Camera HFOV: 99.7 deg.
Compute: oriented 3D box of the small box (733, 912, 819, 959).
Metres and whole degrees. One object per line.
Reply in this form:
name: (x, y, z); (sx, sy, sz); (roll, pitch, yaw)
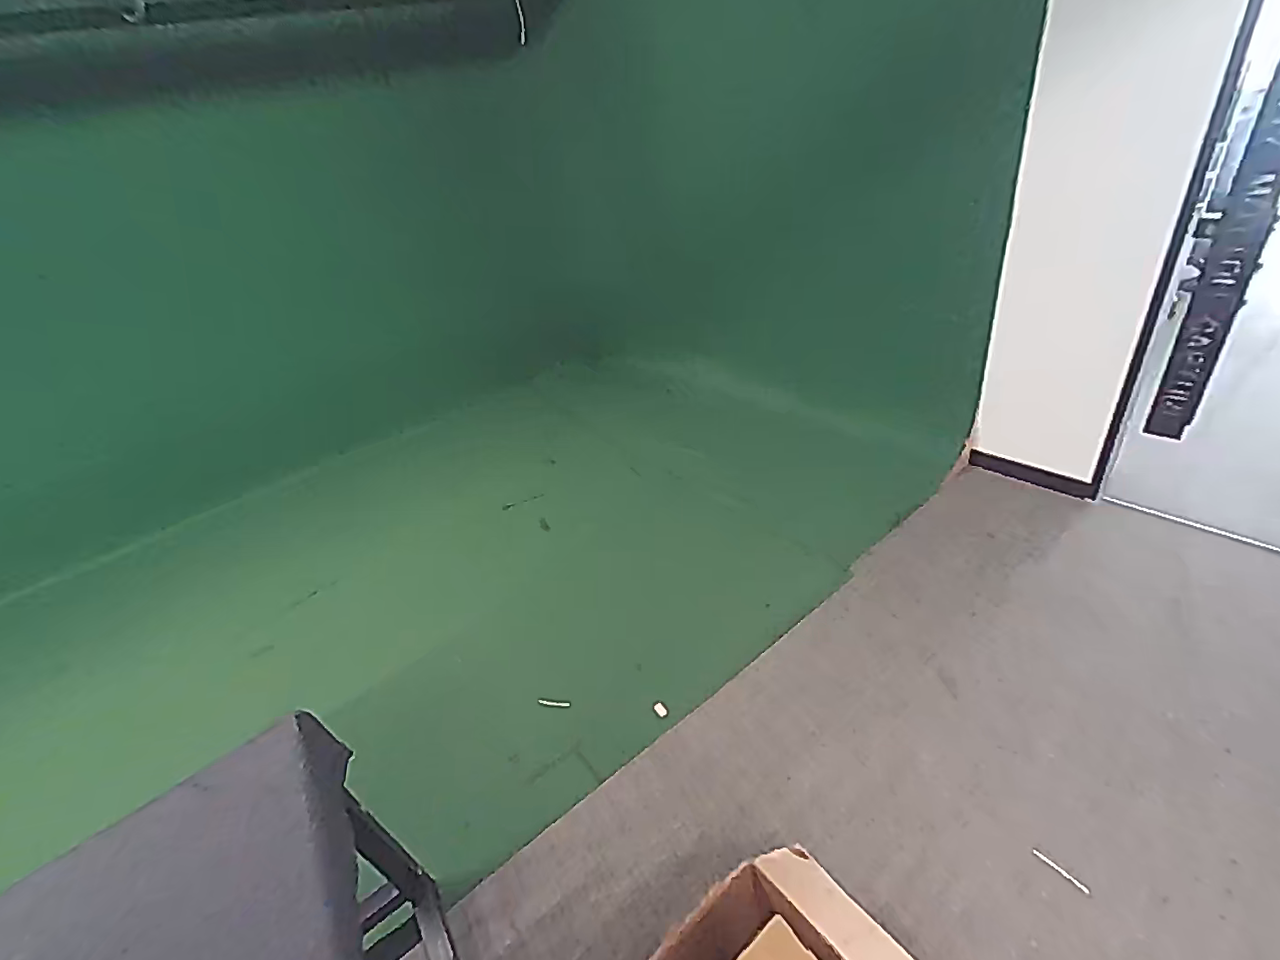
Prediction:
small box: (0.207, 0.812, 0.802); (0.179, 0.176, 0.168); (-28, 37, -26)
